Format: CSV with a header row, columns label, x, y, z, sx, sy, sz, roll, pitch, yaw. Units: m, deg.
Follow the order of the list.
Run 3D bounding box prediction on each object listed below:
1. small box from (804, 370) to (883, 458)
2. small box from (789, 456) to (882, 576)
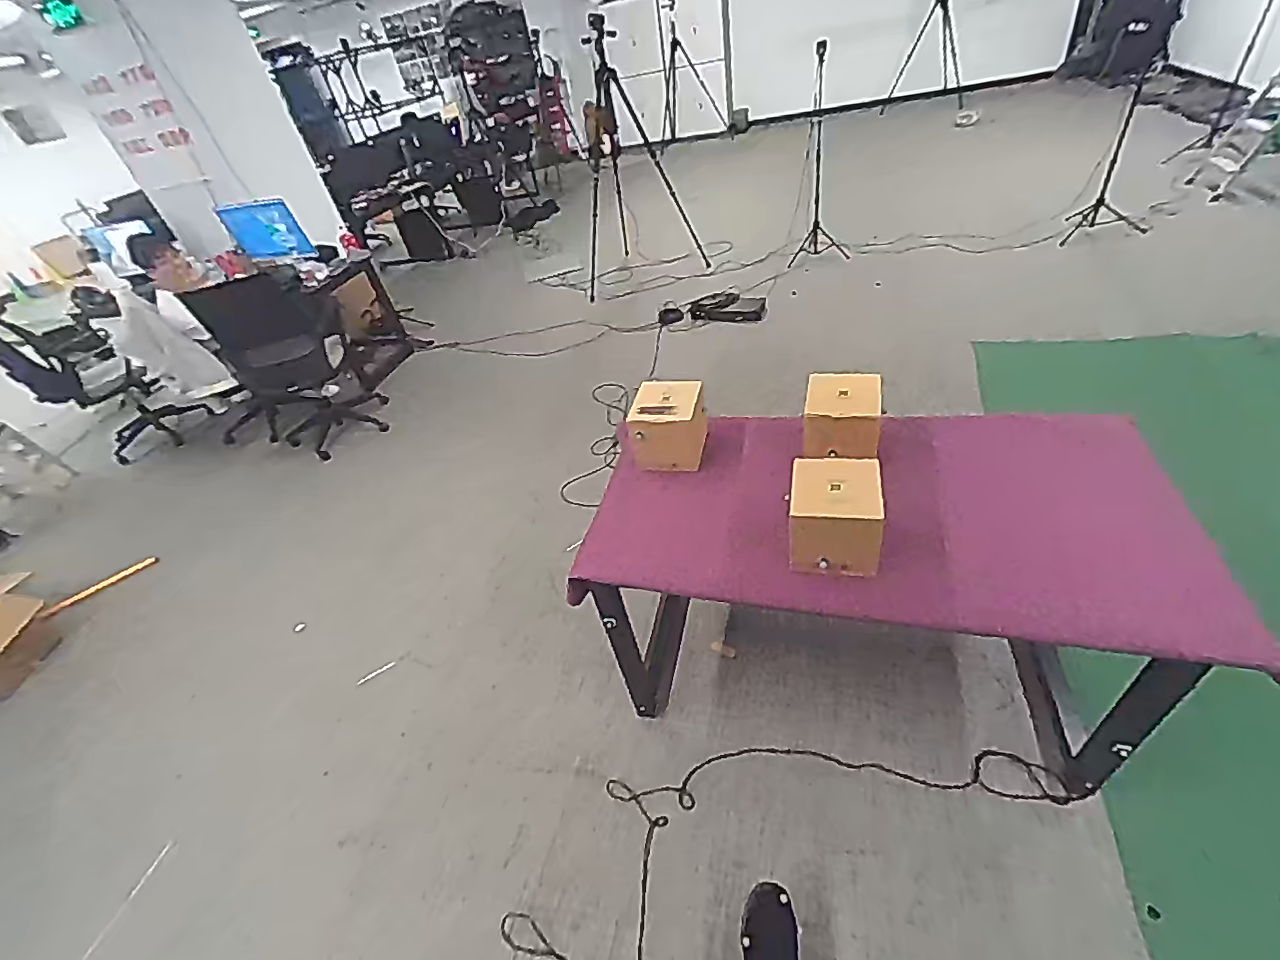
label,x,y,z,sx,sy,sz,roll,pitch,yaw
small box,0.494,-0.150,1.320,0.168,0.176,0.179,4,46,20
small box,0.394,0.070,1.100,0.168,0.176,0.179,2,42,20
